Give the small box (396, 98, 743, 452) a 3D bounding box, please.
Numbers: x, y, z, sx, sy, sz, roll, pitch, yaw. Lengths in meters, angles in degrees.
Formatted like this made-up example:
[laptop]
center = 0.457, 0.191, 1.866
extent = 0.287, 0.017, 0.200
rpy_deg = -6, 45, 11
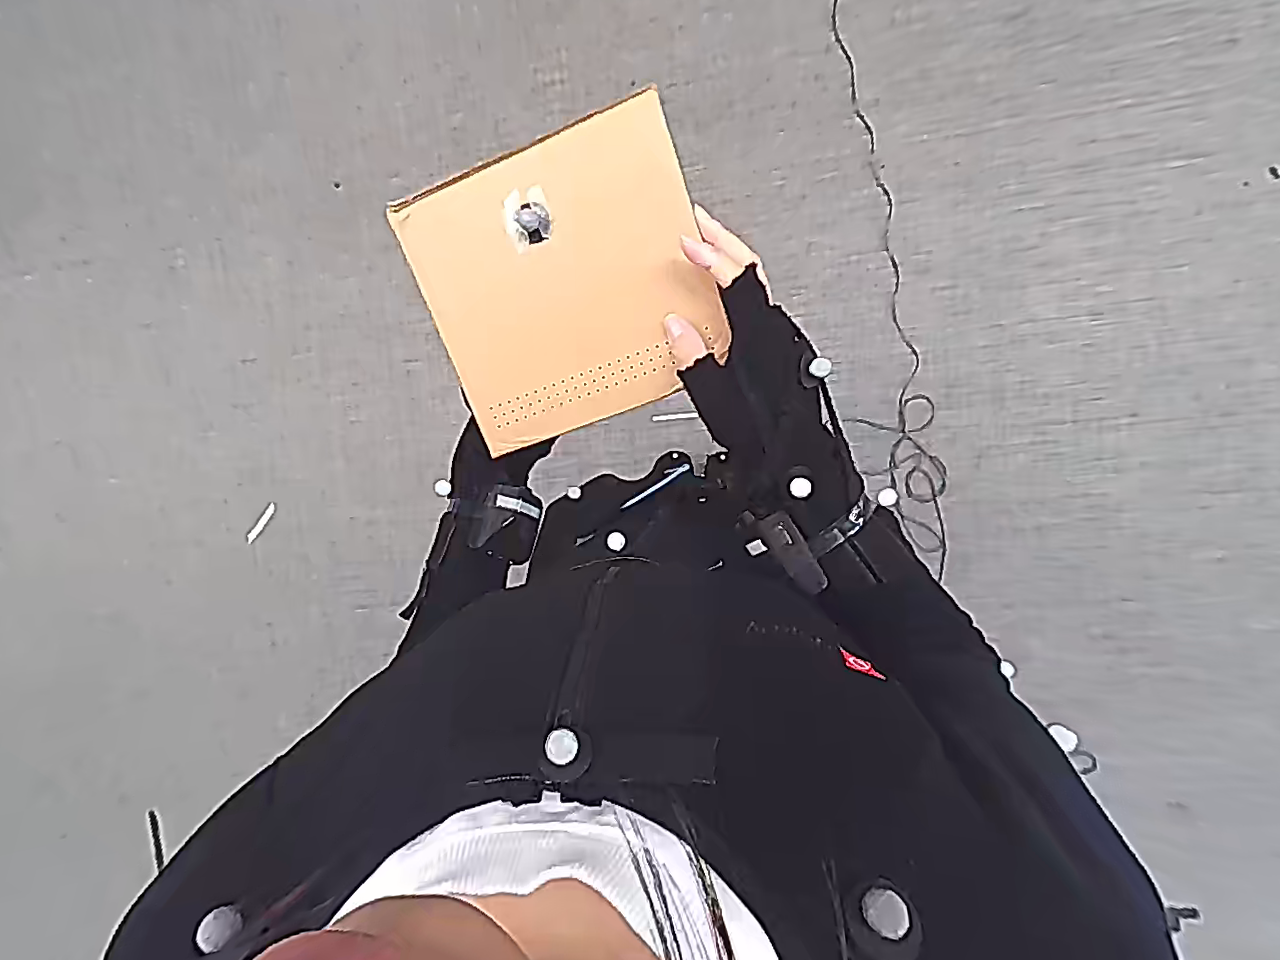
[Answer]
[small box]
center = -0.036, -0.134, 0.410
extent = 0.179, 0.168, 0.176
rpy_deg = -18, 104, 9
